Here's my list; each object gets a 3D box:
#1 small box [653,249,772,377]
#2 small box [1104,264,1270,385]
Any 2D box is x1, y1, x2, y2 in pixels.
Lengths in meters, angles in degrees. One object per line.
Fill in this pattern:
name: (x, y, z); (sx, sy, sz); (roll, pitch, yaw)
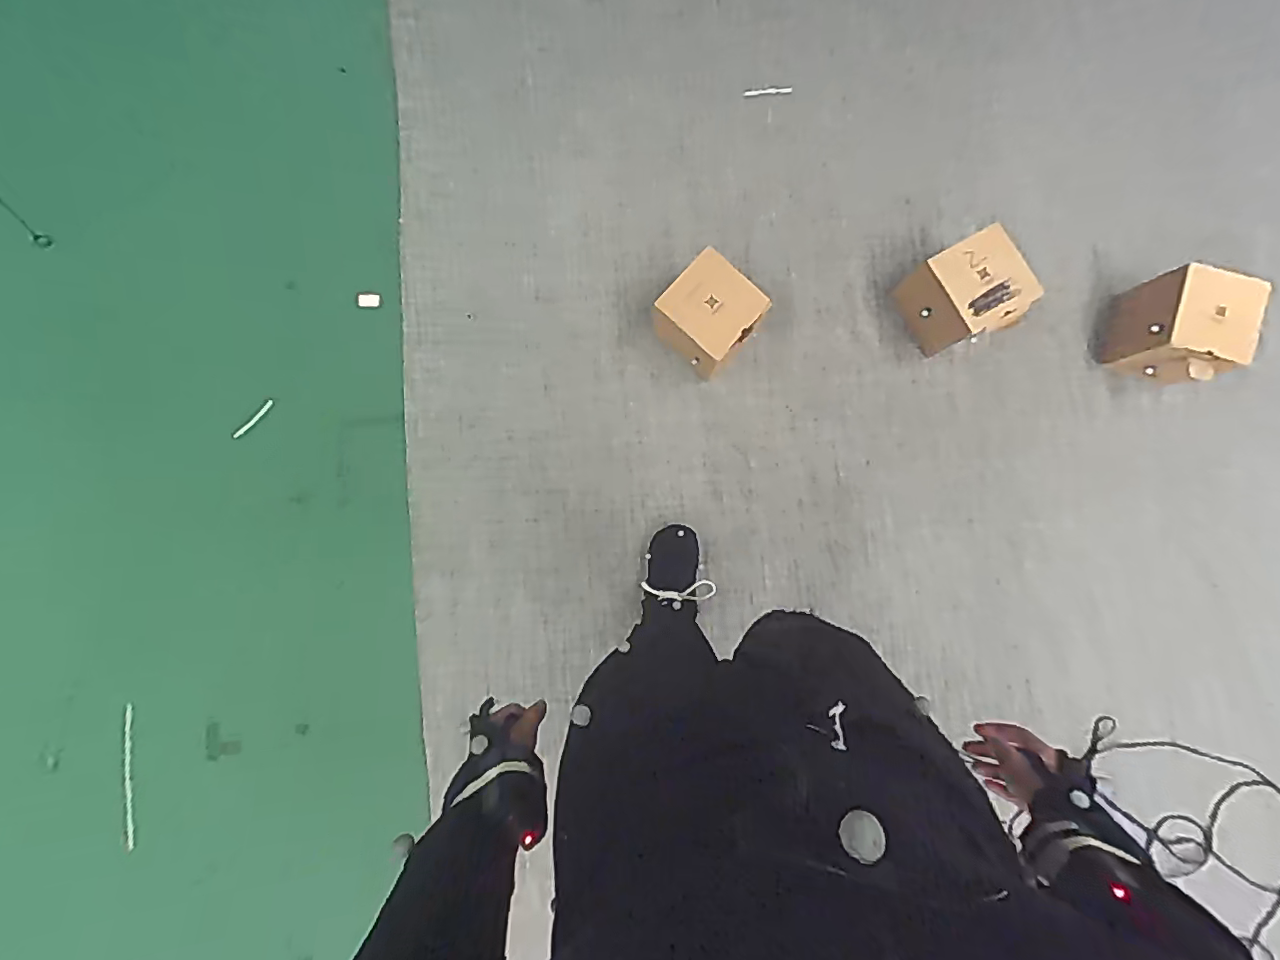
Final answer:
small box: (0.145, -0.338, 1.142); (0.179, 0.176, 0.168); (42, 87, 3)
small box: (1.133, -0.317, 1.135); (0.168, 0.176, 0.179); (16, 88, 1)
